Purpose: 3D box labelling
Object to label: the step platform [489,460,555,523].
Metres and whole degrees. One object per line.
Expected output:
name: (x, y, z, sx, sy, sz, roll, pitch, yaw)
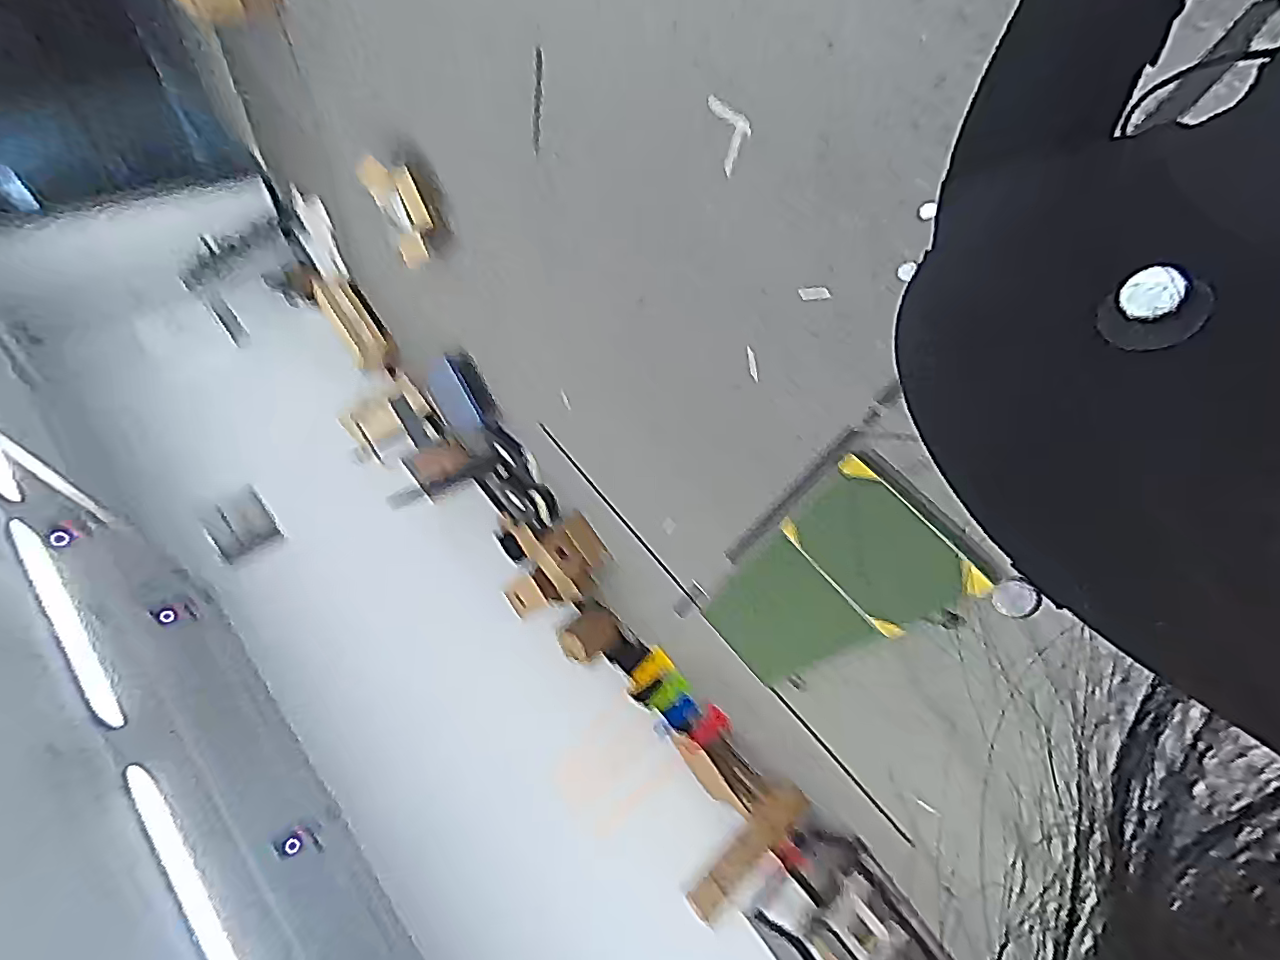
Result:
step platform: (-1.008, 0.097, 4.561, 0.684, 0.204, 0.286, 29, 141, 39)
